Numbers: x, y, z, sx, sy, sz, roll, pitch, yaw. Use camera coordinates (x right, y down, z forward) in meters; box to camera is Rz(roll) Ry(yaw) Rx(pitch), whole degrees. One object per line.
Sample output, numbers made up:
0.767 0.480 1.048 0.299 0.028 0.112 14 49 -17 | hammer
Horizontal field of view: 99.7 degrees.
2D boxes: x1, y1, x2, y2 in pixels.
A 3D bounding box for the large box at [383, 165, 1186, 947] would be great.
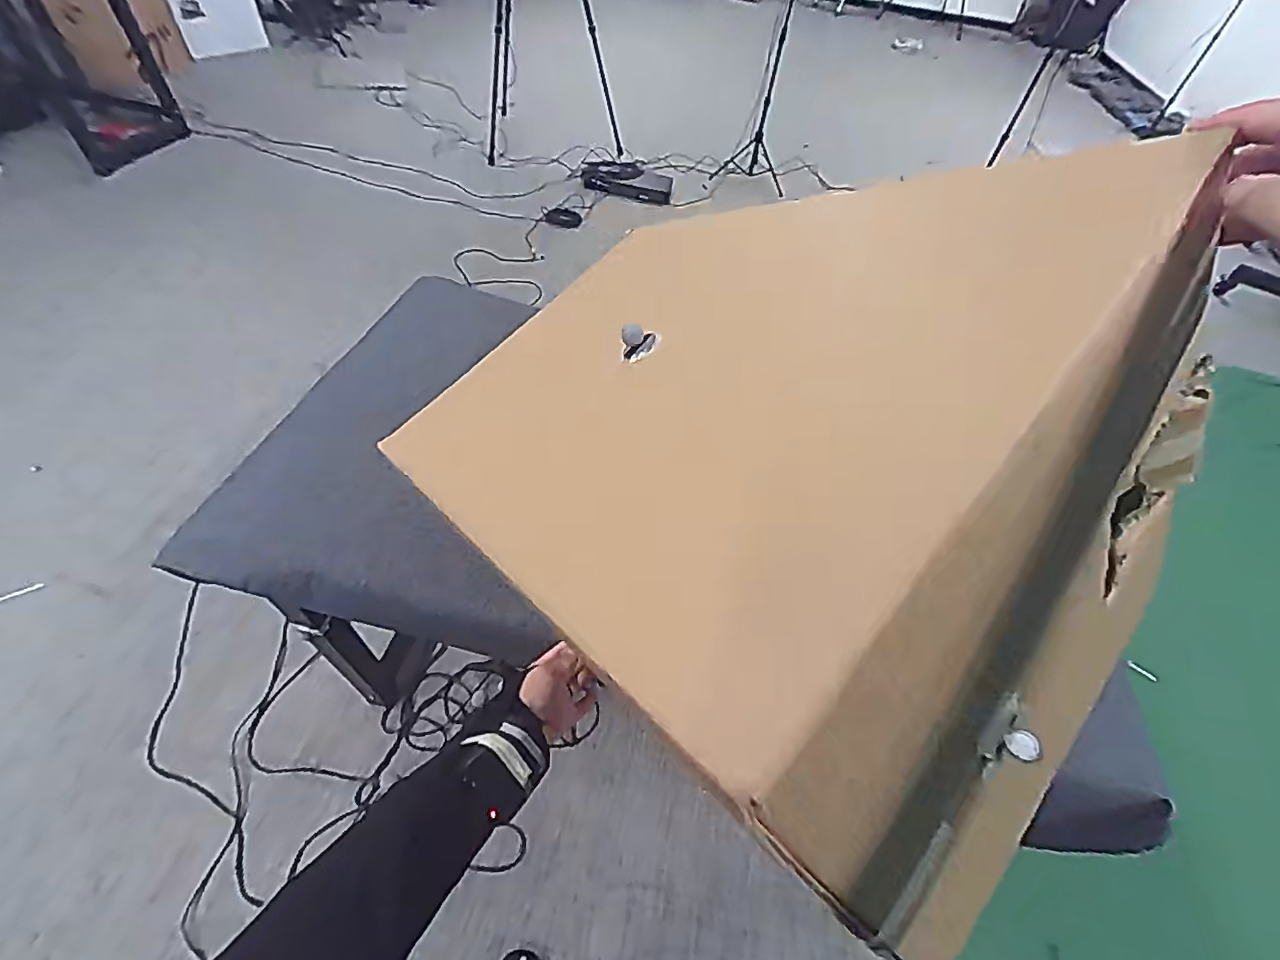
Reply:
0.077 0.026 0.413 0.320 0.320 0.408 -47 38 -18 | large box
